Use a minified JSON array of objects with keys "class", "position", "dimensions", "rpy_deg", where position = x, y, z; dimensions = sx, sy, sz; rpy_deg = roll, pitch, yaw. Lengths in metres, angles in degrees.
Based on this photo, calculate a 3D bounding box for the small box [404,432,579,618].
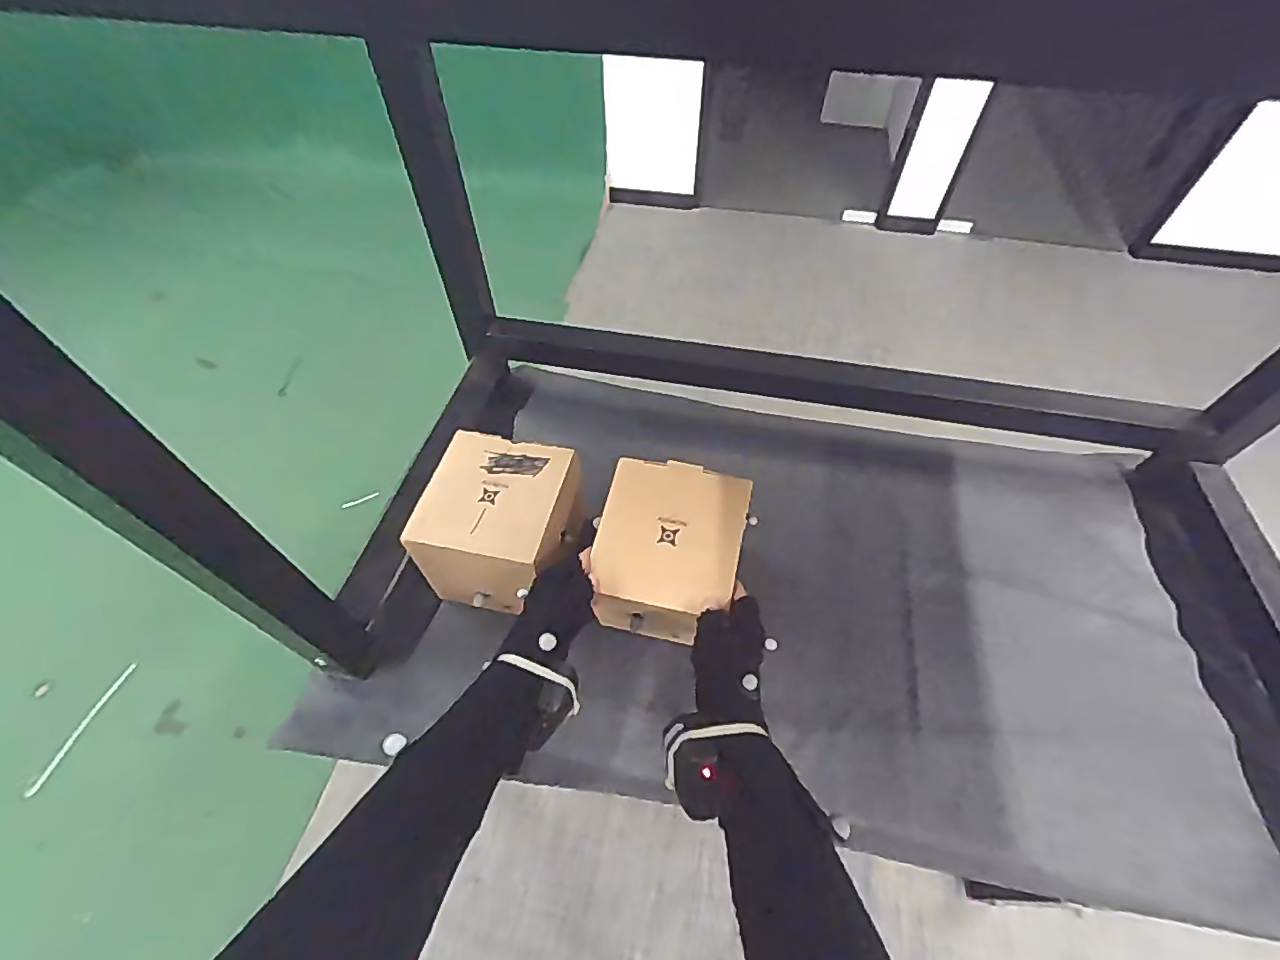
[{"class":"small box","position":[-0.185,0.063,0.740],"dimensions":[0.168,0.176,0.179],"rpy_deg":[10,54,7]}]

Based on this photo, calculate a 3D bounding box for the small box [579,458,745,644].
[{"class":"small box","position":[0.035,0.098,0.698],"dimensions":[0.168,0.176,0.179],"rpy_deg":[10,62,10]}]
